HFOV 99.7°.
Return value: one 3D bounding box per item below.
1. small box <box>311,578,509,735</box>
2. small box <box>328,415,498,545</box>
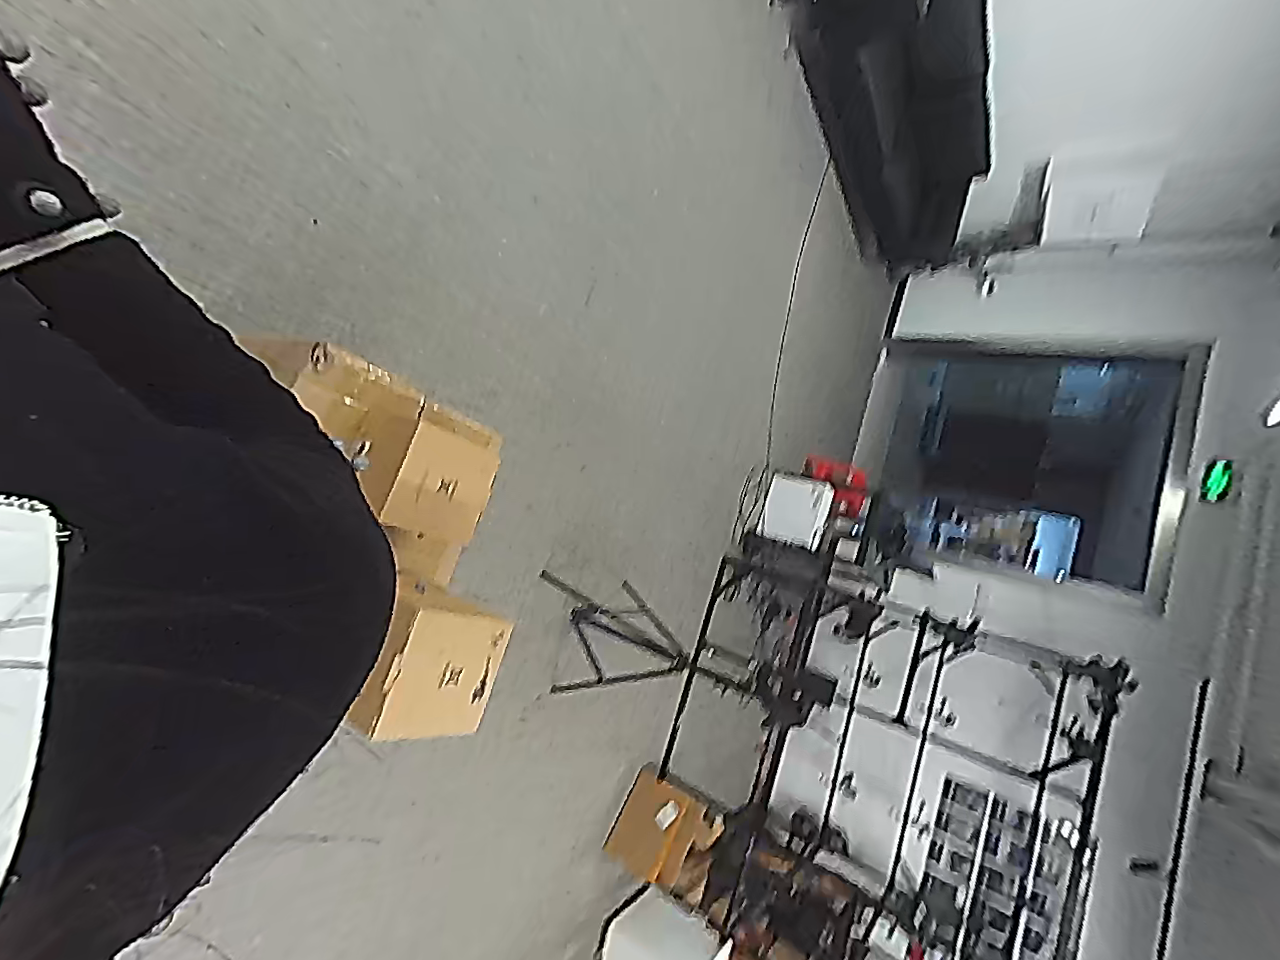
[{"bbox_3d":[-0.329,0.248,0.776,0.179,0.176,0.168,32,72,-53],"label":"small box"},{"bbox_3d":[-0.382,-0.003,0.917,0.179,0.176,0.168,30,75,-52],"label":"small box"}]
